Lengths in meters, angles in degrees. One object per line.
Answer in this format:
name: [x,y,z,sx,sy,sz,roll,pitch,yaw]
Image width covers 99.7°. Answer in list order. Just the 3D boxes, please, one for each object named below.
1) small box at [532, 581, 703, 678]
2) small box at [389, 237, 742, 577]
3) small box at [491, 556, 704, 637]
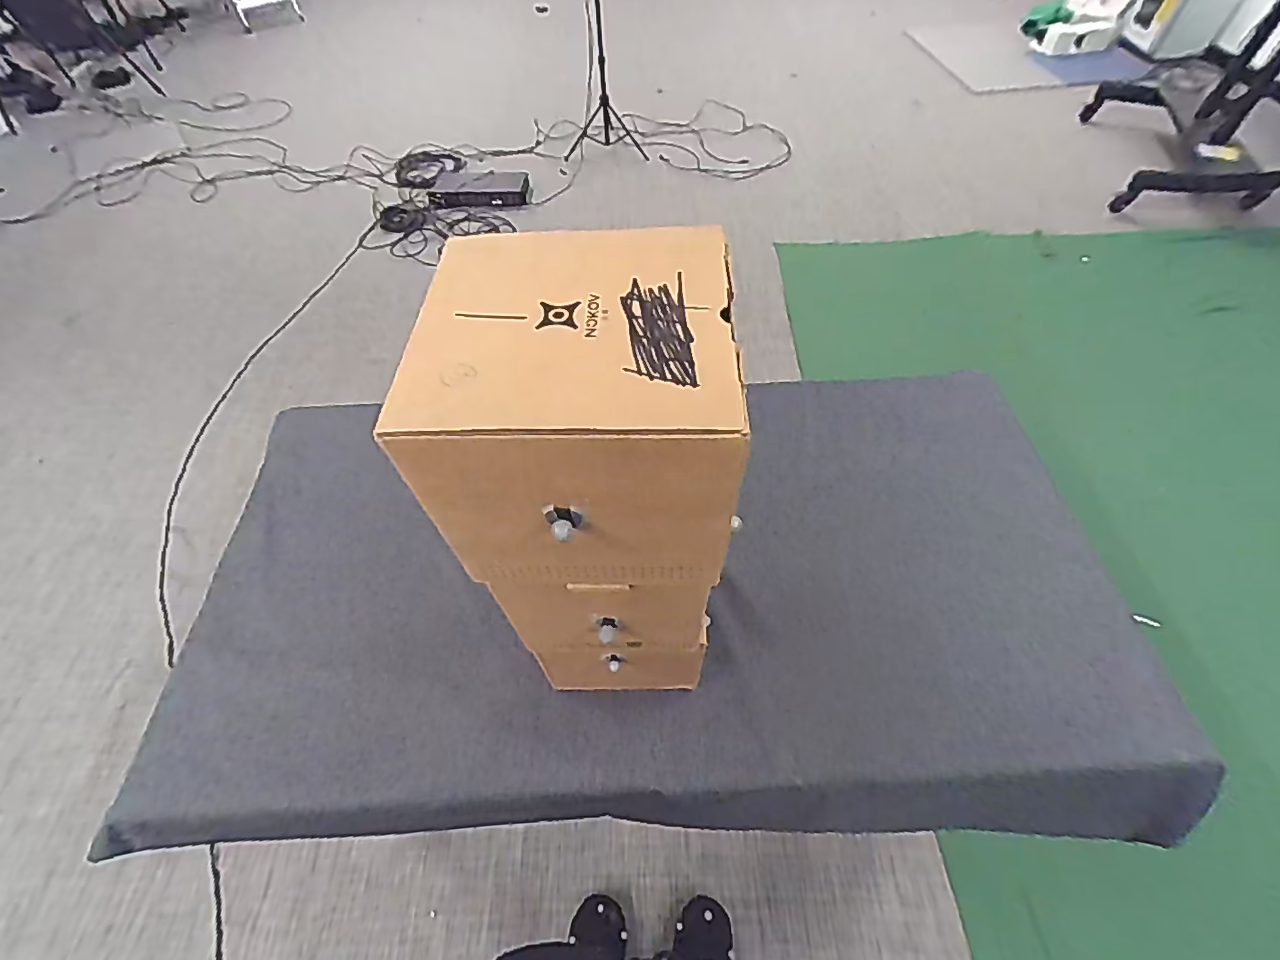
small box: [-0.021,0.134,0.650,0.179,0.176,0.168,-1,56,0]
small box: [-0.033,-0.042,0.372,0.179,0.176,0.168,0,55,3]
small box: [-0.028,0.043,0.514,0.168,0.176,0.179,-1,56,1]
